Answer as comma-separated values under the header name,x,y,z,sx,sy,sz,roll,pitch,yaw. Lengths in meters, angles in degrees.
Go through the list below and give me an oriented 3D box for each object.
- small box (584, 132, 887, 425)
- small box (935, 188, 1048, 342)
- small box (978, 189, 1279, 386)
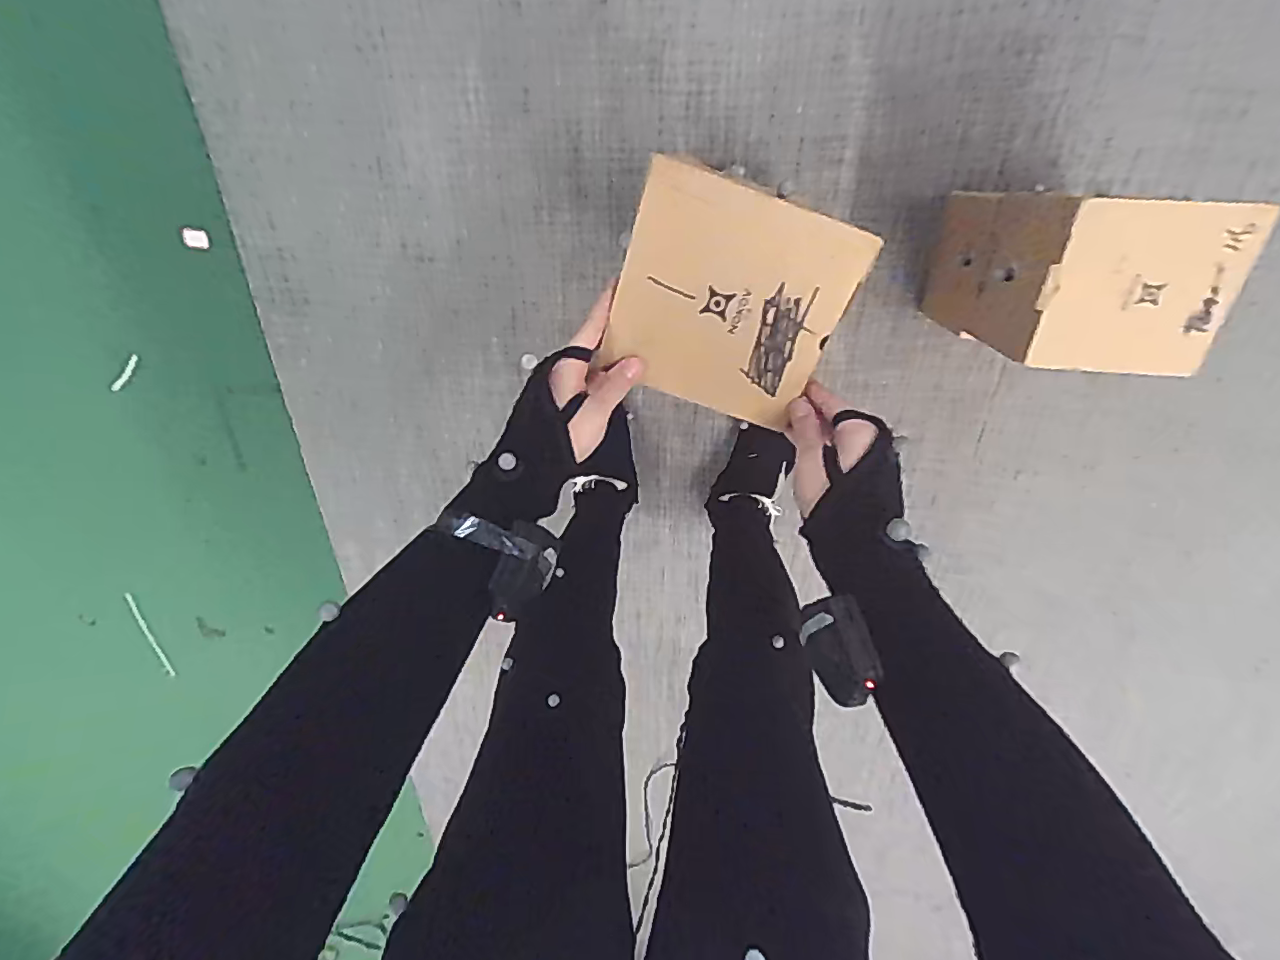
name,x,y,z,sx,sy,sz,roll,pitch,yaw
small box,0.072,-0.178,0.468,0.179,0.176,0.168,20,121,-4
small box,0.525,-0.290,0.731,0.168,0.176,0.179,6,119,6
small box,0.508,-0.215,0.586,0.179,0.176,0.168,8,120,6
